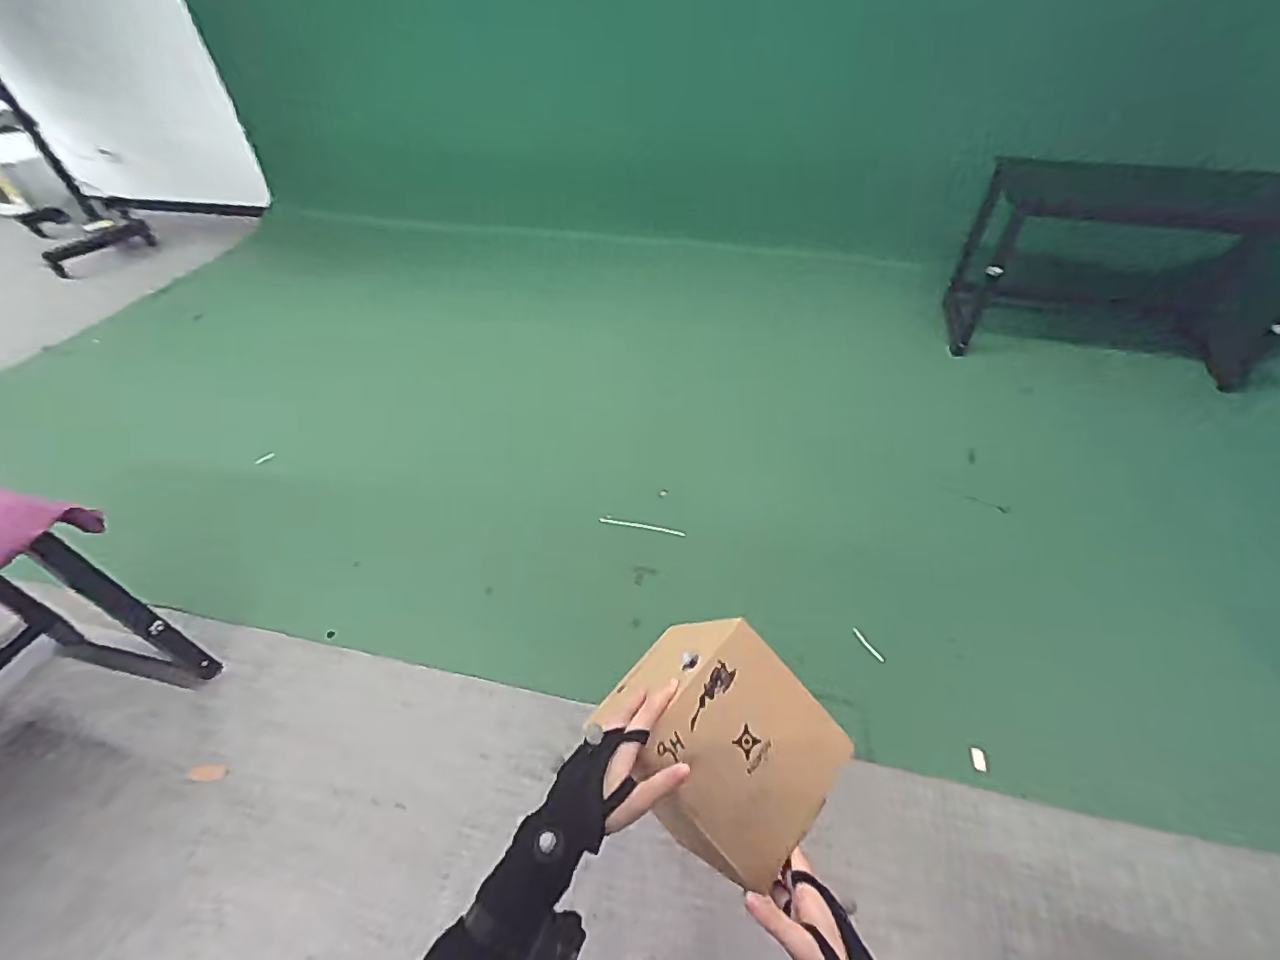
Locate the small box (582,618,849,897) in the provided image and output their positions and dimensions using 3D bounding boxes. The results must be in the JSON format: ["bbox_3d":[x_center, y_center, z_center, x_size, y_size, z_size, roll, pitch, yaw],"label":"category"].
[{"bbox_3d":[0.068,0.267,0.562,0.179,0.176,0.168,48,61,0],"label":"small box"}]
